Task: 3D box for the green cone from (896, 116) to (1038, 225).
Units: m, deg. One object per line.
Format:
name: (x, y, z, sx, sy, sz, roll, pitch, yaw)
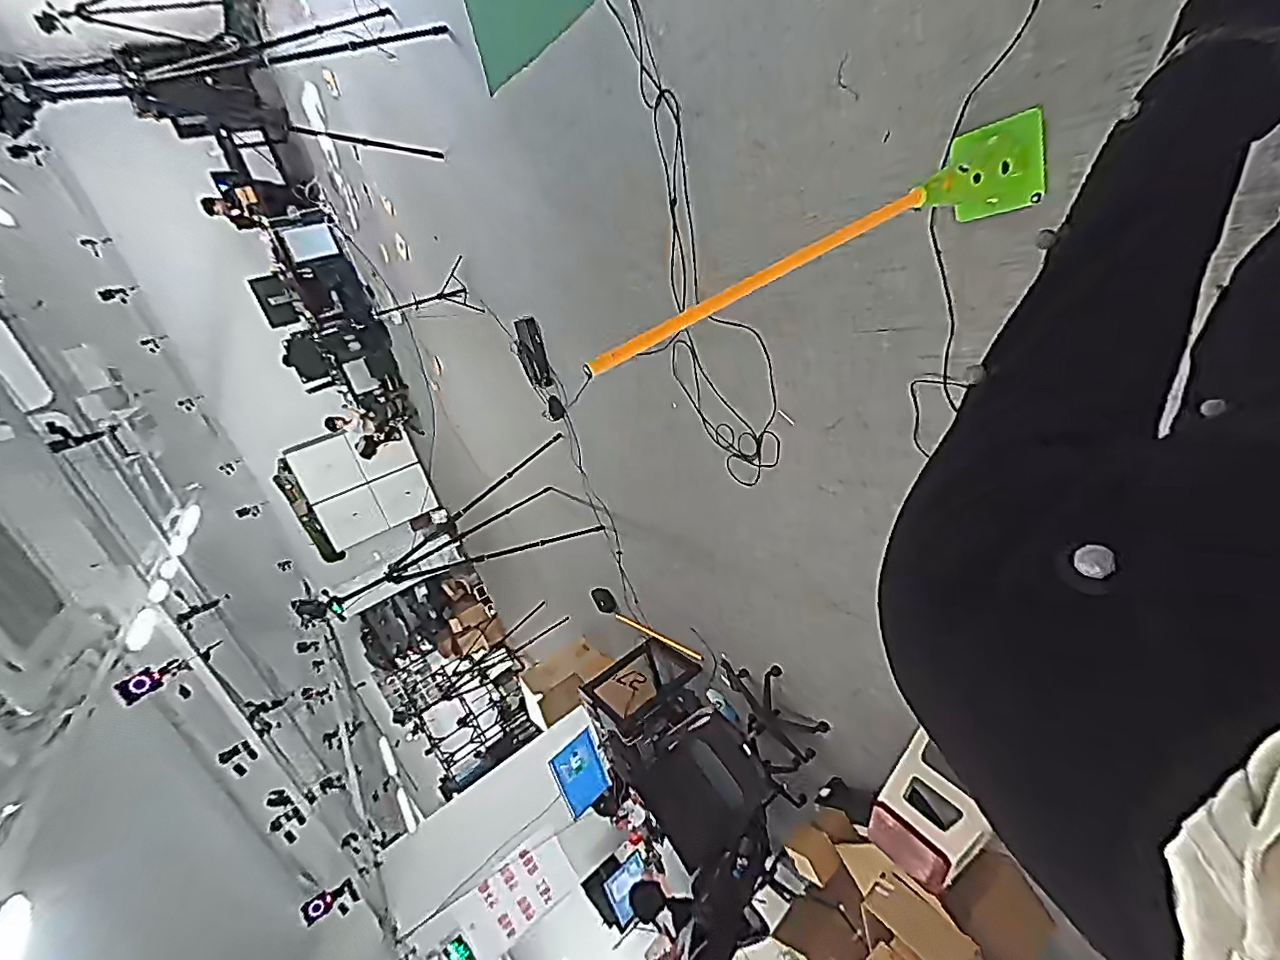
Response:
green cone: (0.714, -0.673, 1.237, 0.202, 0.368, 0.200, 14, 126, 57)
